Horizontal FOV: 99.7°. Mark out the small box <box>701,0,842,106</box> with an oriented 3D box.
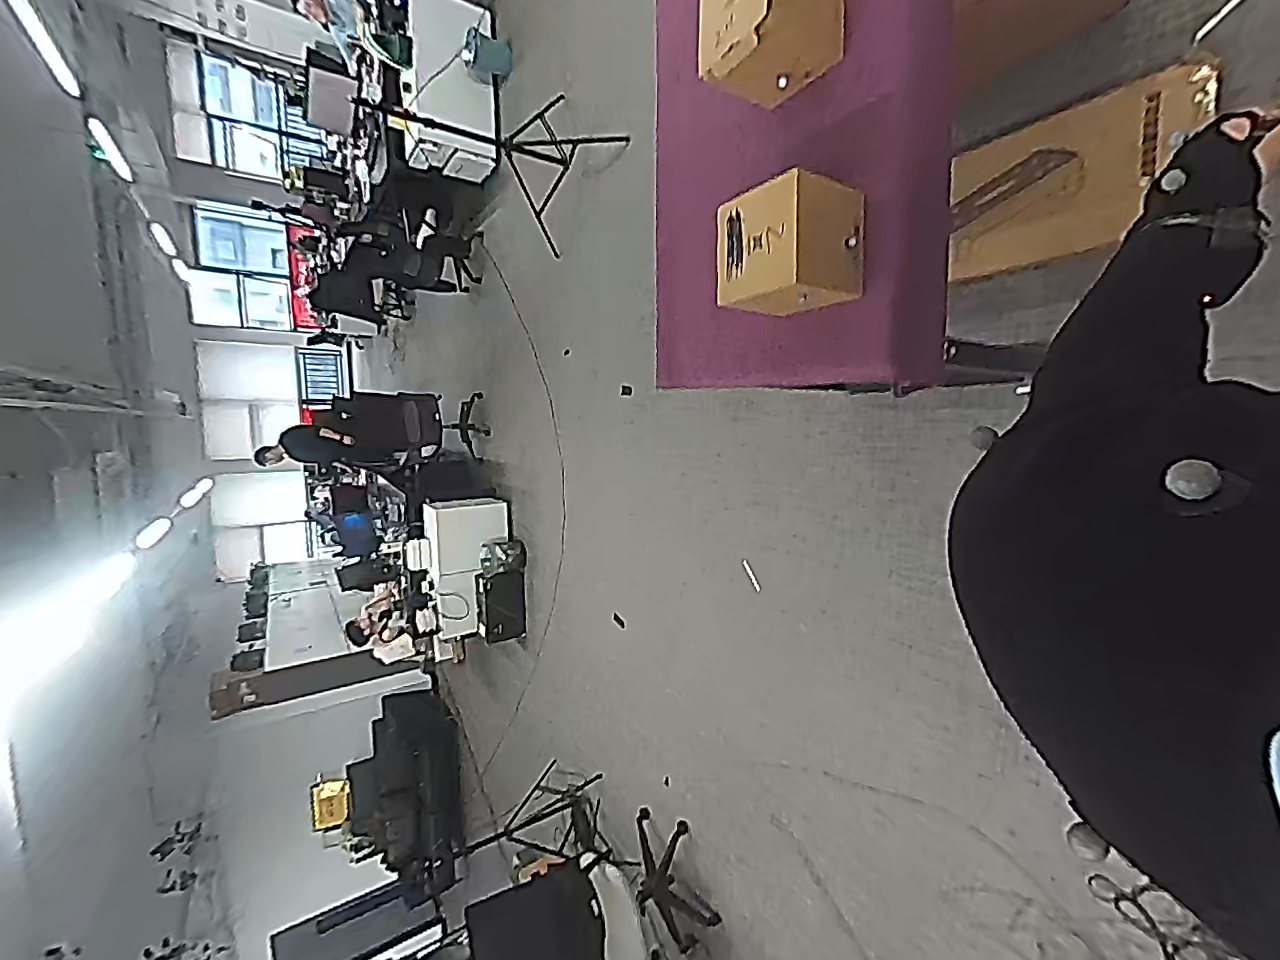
[{"bbox_3d":[0.218,-0.773,0.899,0.168,0.176,0.179,7,100,59],"label":"small box"}]
